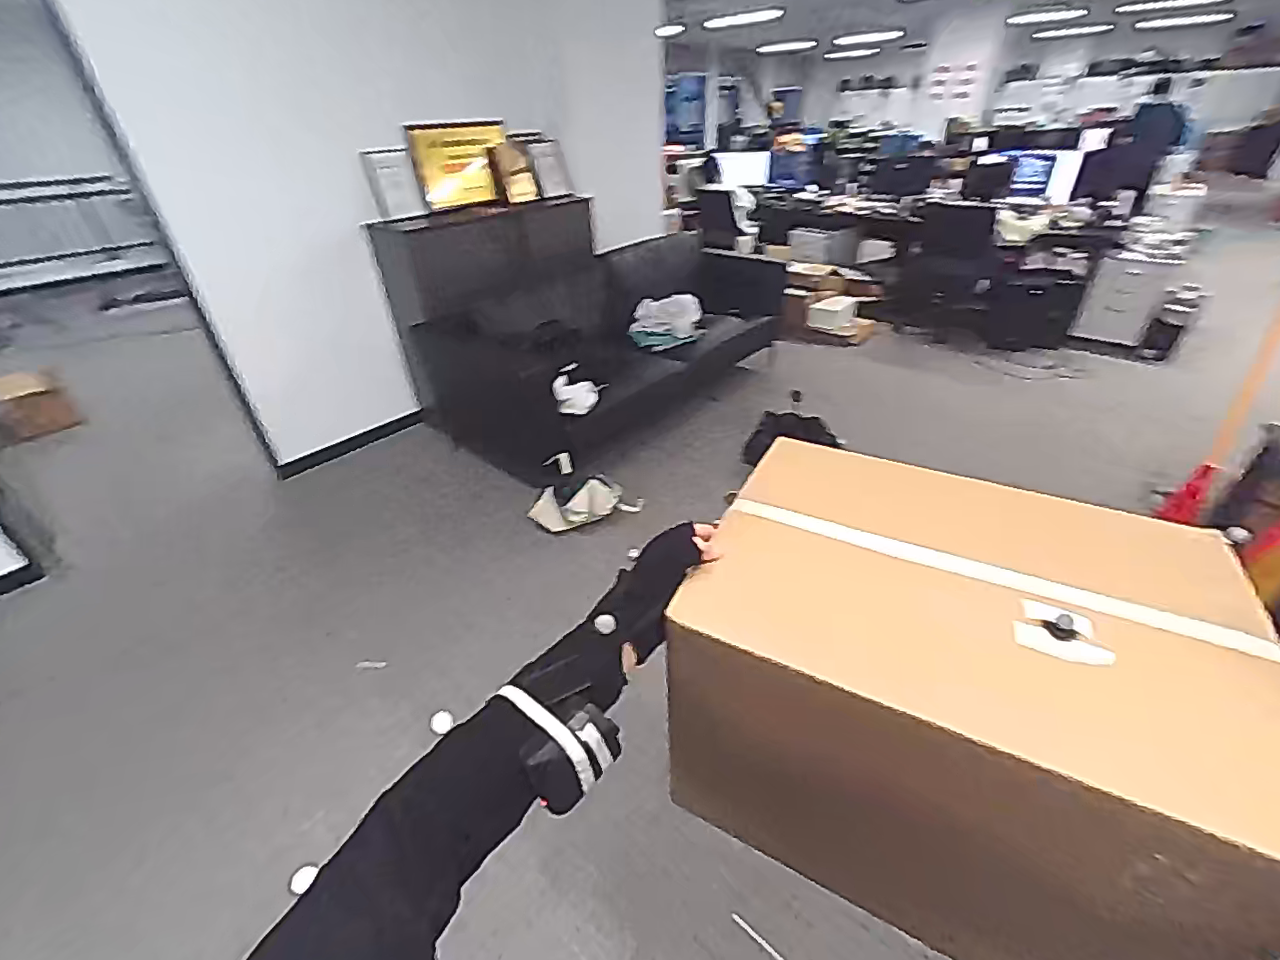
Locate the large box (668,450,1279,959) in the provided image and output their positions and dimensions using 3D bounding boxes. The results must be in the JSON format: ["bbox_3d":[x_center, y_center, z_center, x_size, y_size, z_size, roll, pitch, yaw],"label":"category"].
[{"bbox_3d":[0.270,0.209,0.557,0.408,0.320,0.320,16,39,24],"label":"large box"}]
